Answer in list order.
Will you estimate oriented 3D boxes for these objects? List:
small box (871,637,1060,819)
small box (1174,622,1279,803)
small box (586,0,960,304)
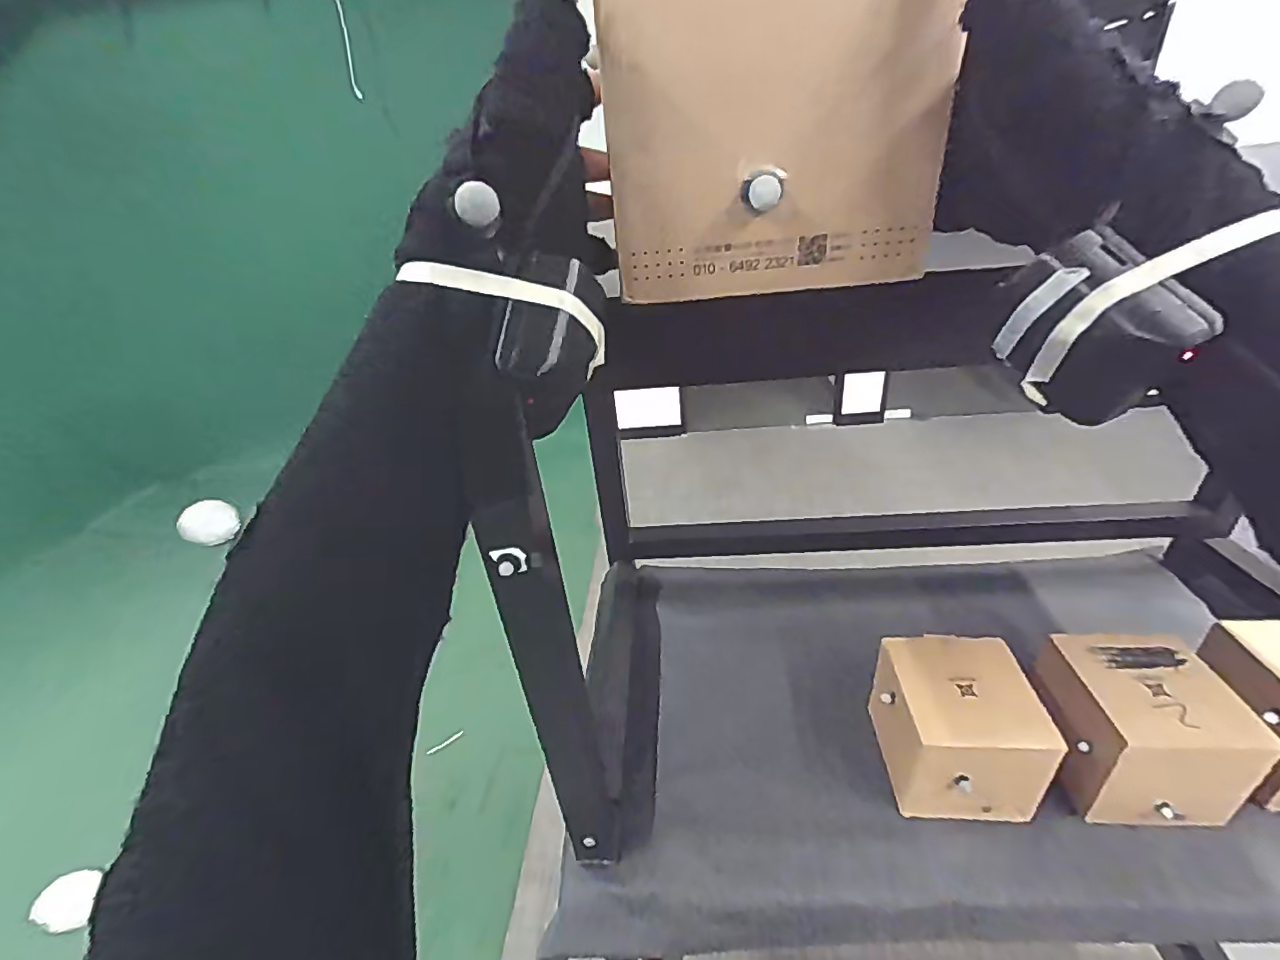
[{"bbox_3d":[0.436,0.344,0.759,0.168,0.176,0.179,-2,30,8],"label":"small box"},{"bbox_3d":[0.885,0.312,0.717,0.168,0.176,0.179,-1,30,9],"label":"small box"},{"bbox_3d":[0.062,-0.212,0.328,0.168,0.176,0.179,-4,31,4],"label":"small box"}]
